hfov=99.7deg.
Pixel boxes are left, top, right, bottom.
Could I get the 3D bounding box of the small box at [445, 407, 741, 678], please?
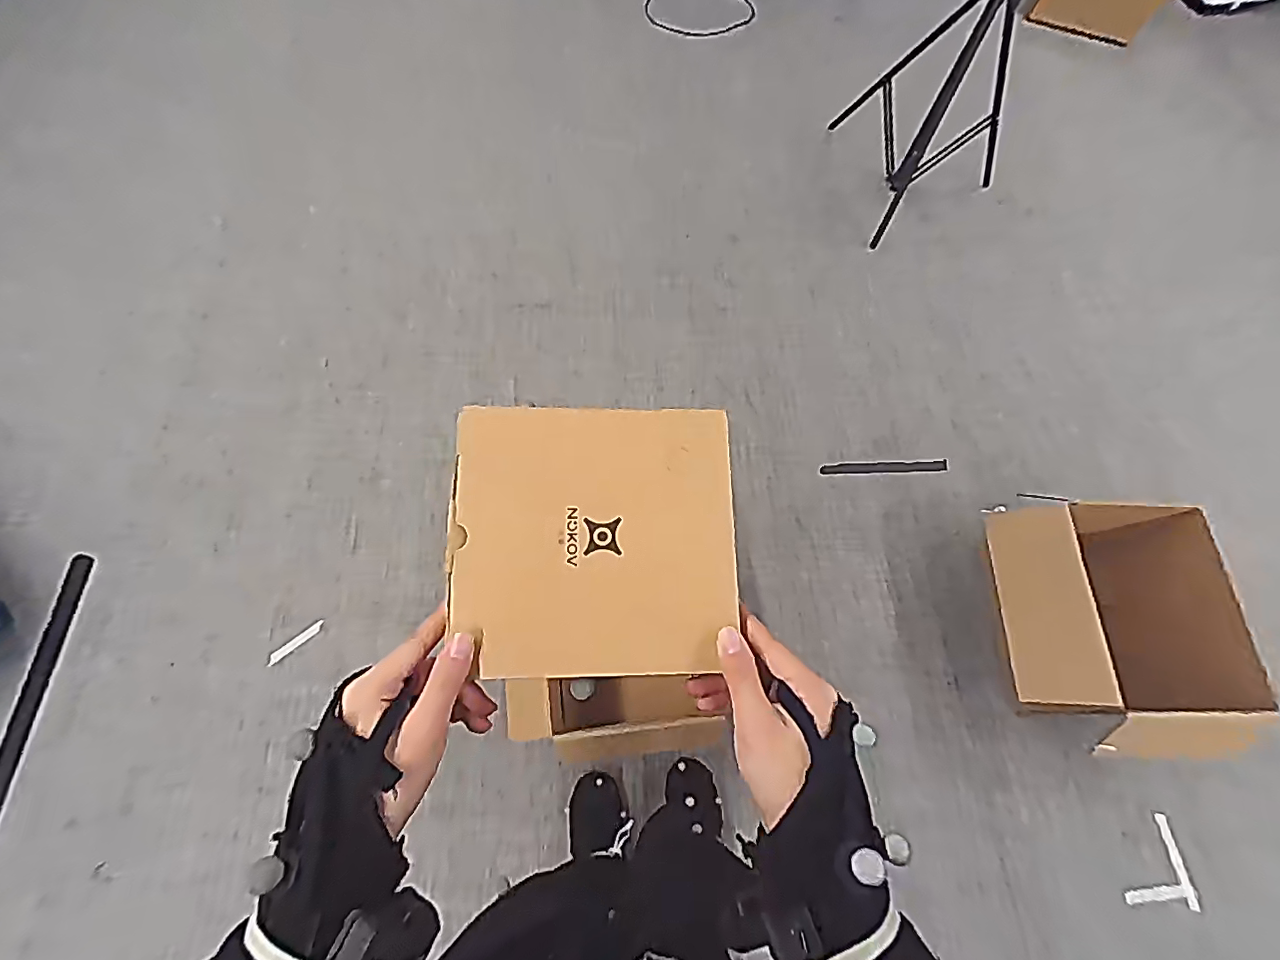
[{"bbox_3d":[-0.032,0.051,0.410,0.179,0.176,0.168,-1,77,-3],"label":"small box"}]
